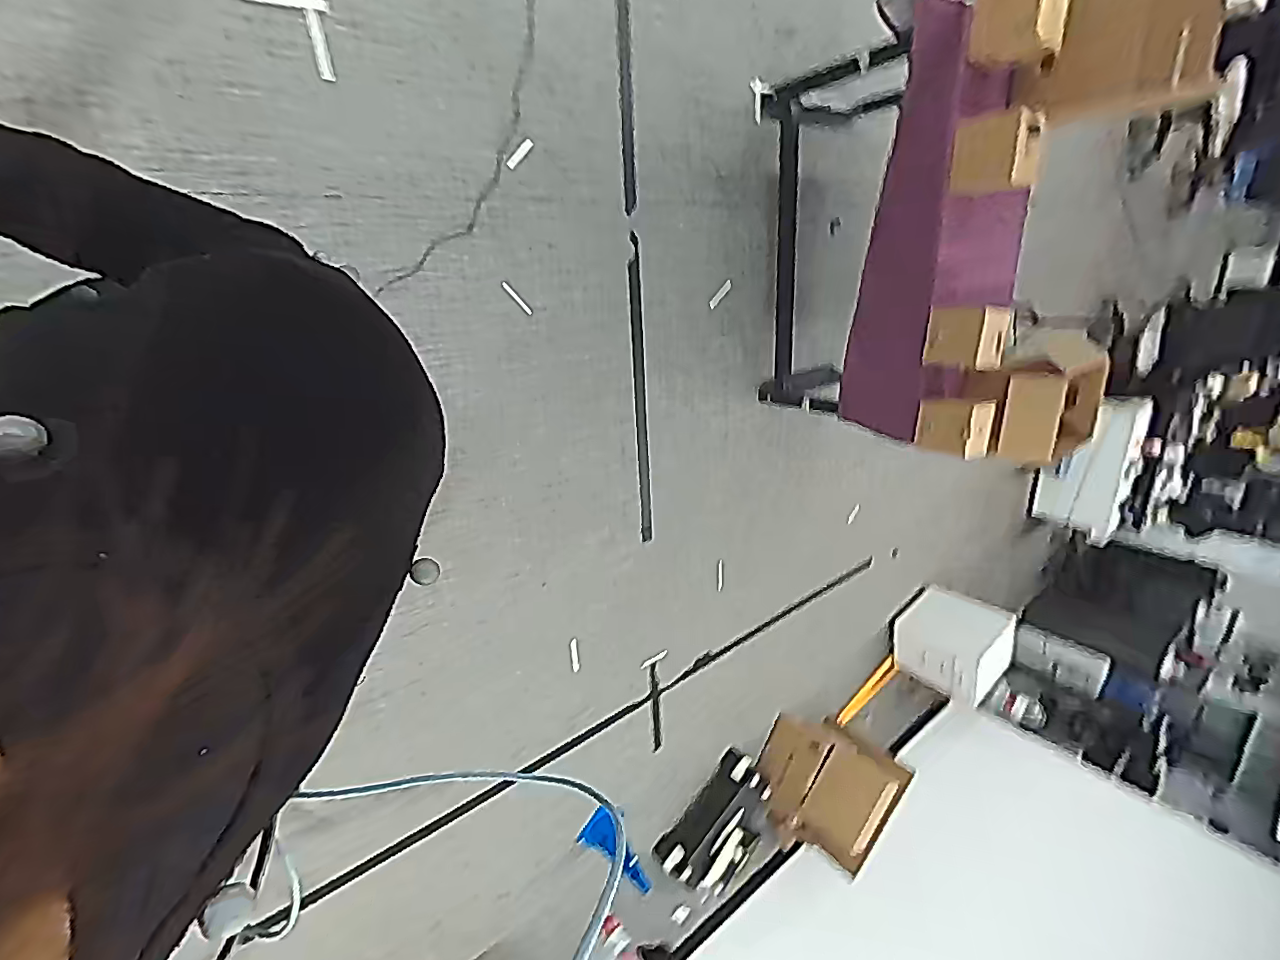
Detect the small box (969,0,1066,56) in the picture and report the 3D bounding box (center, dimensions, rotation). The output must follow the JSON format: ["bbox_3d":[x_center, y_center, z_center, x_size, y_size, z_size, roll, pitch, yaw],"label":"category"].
[{"bbox_3d":[0.998,-1.263,1.427,0.168,0.176,0.179,-18,116,-33],"label":"small box"}]

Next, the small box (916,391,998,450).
[{"bbox_3d":[1.058,-0.205,1.809,0.179,0.176,0.168,-11,110,-36],"label":"small box"}]
